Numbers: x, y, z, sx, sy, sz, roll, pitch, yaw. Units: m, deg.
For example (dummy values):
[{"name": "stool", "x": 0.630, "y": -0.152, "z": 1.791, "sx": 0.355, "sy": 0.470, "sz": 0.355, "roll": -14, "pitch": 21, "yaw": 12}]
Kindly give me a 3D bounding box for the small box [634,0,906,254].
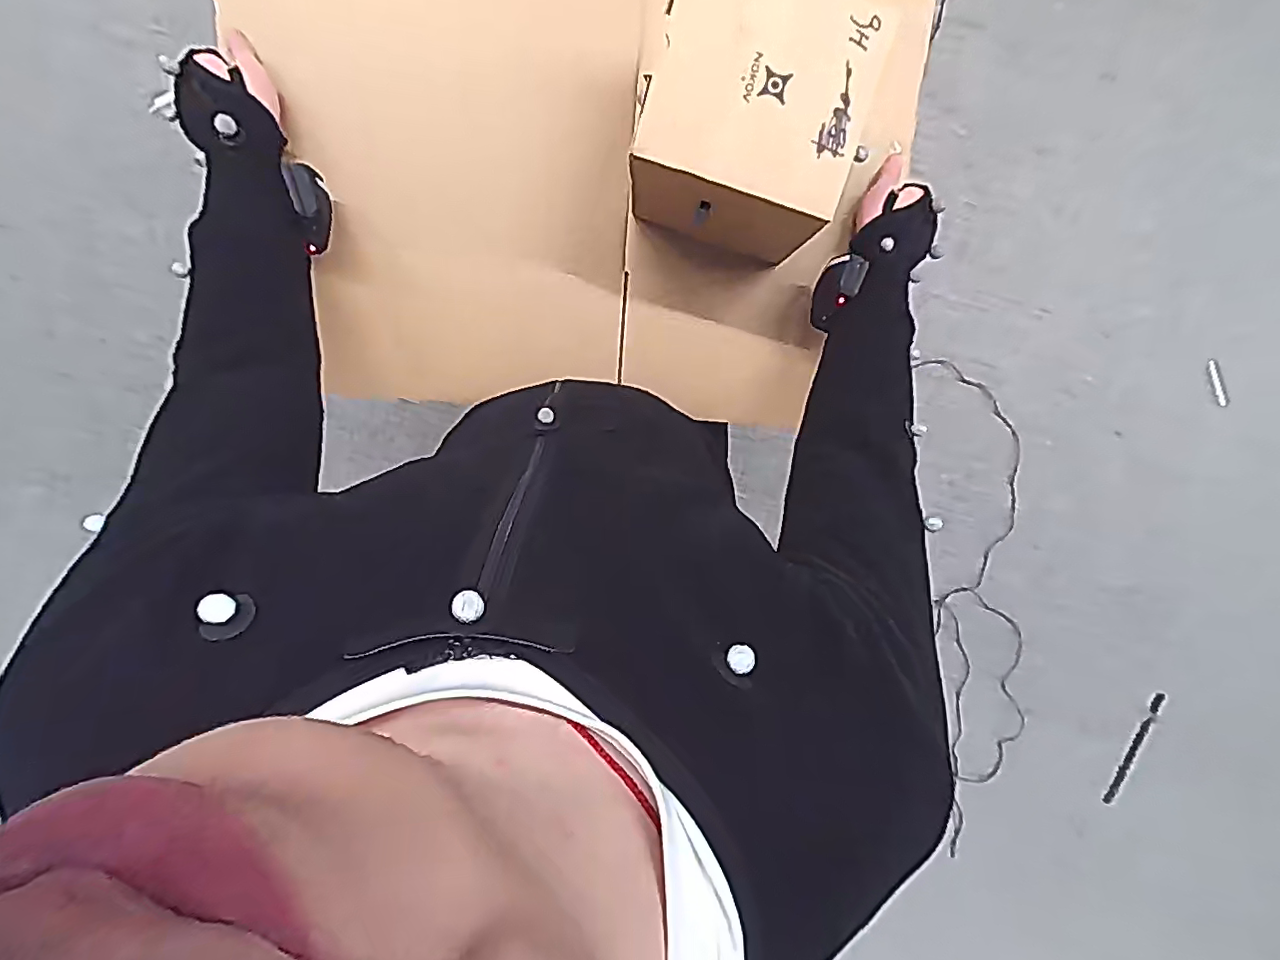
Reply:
[{"name": "small box", "x": 0.103, "y": -0.332, "z": 0.509, "sx": 0.179, "sy": 0.176, "sz": 0.168, "roll": 17, "pitch": 100, "yaw": -2}]
